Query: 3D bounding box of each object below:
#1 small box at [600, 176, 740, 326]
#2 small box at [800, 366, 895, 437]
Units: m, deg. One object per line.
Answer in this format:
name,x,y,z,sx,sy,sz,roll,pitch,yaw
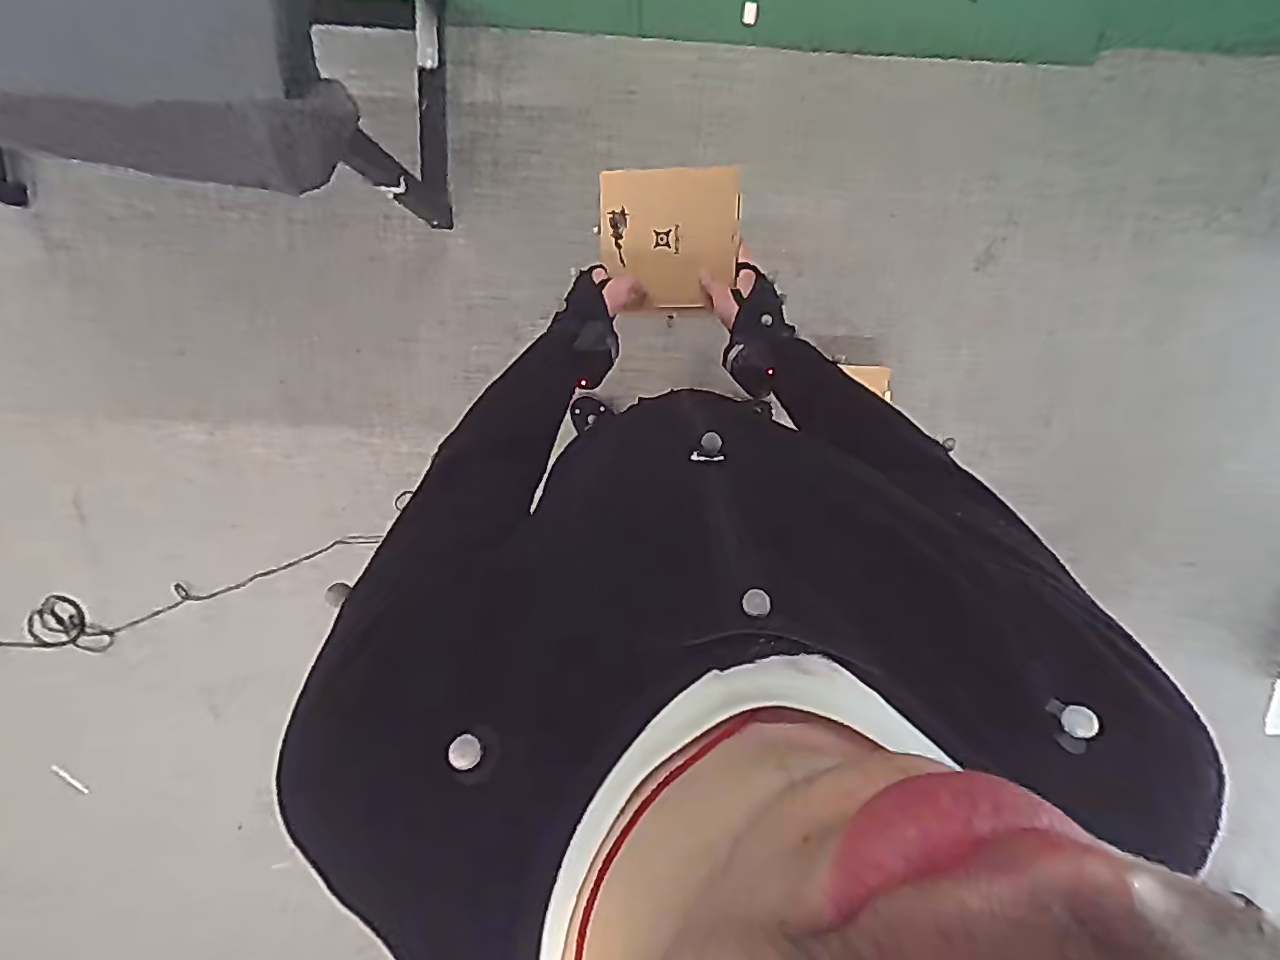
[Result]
small box,0.039,-0.311,0.763,0.179,0.176,0.168,1,101,2
small box,0.549,-0.211,1.452,0.179,0.176,0.168,5,98,-1
